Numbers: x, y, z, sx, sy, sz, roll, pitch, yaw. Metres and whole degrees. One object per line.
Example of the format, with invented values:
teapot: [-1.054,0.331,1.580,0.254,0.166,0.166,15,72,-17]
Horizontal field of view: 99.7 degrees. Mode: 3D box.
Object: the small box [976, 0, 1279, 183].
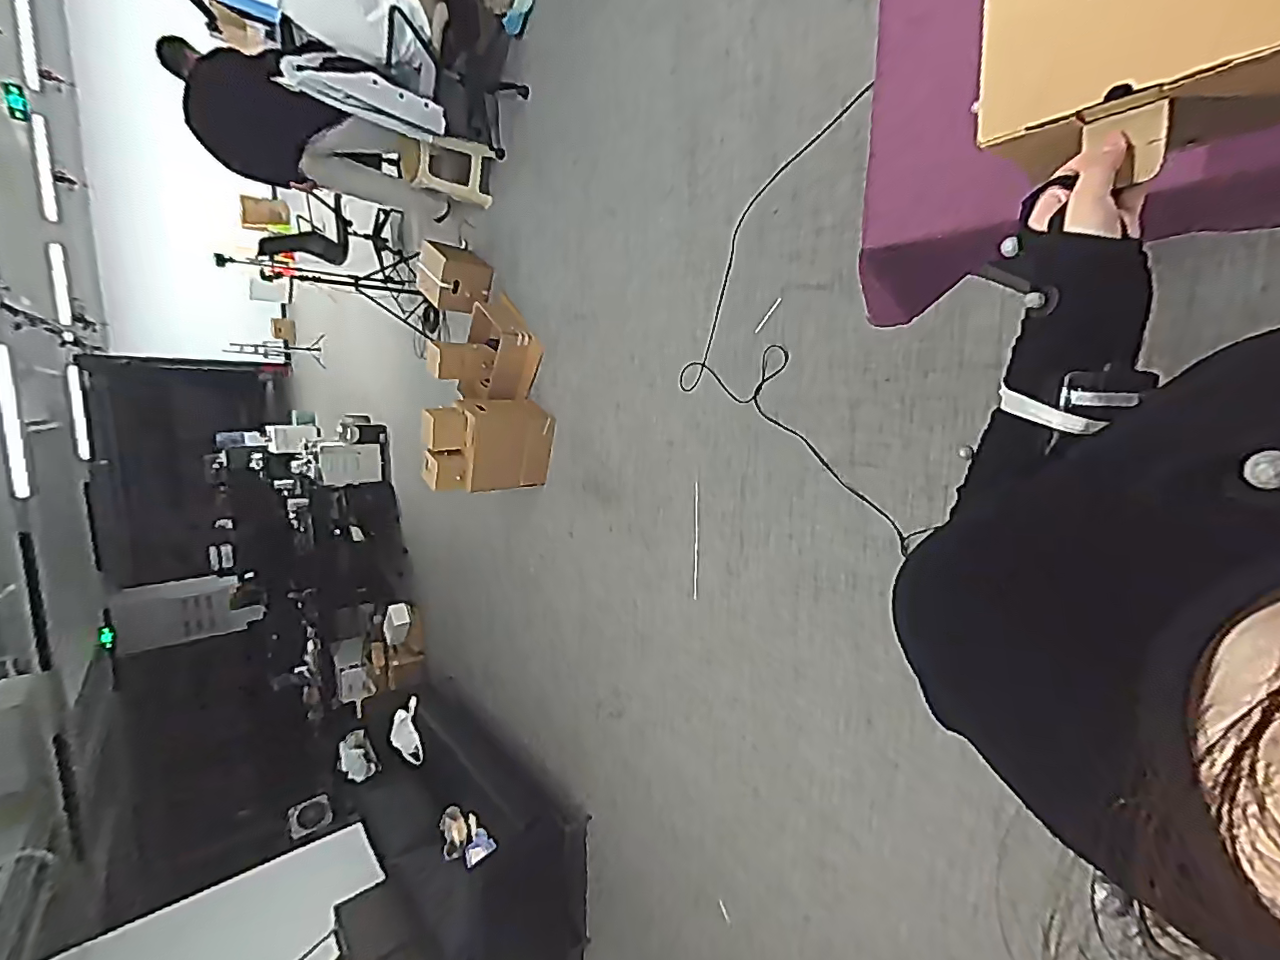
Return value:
small box: [0.378,-0.355,0.409,0.168,0.176,0.179,8,106,49]
